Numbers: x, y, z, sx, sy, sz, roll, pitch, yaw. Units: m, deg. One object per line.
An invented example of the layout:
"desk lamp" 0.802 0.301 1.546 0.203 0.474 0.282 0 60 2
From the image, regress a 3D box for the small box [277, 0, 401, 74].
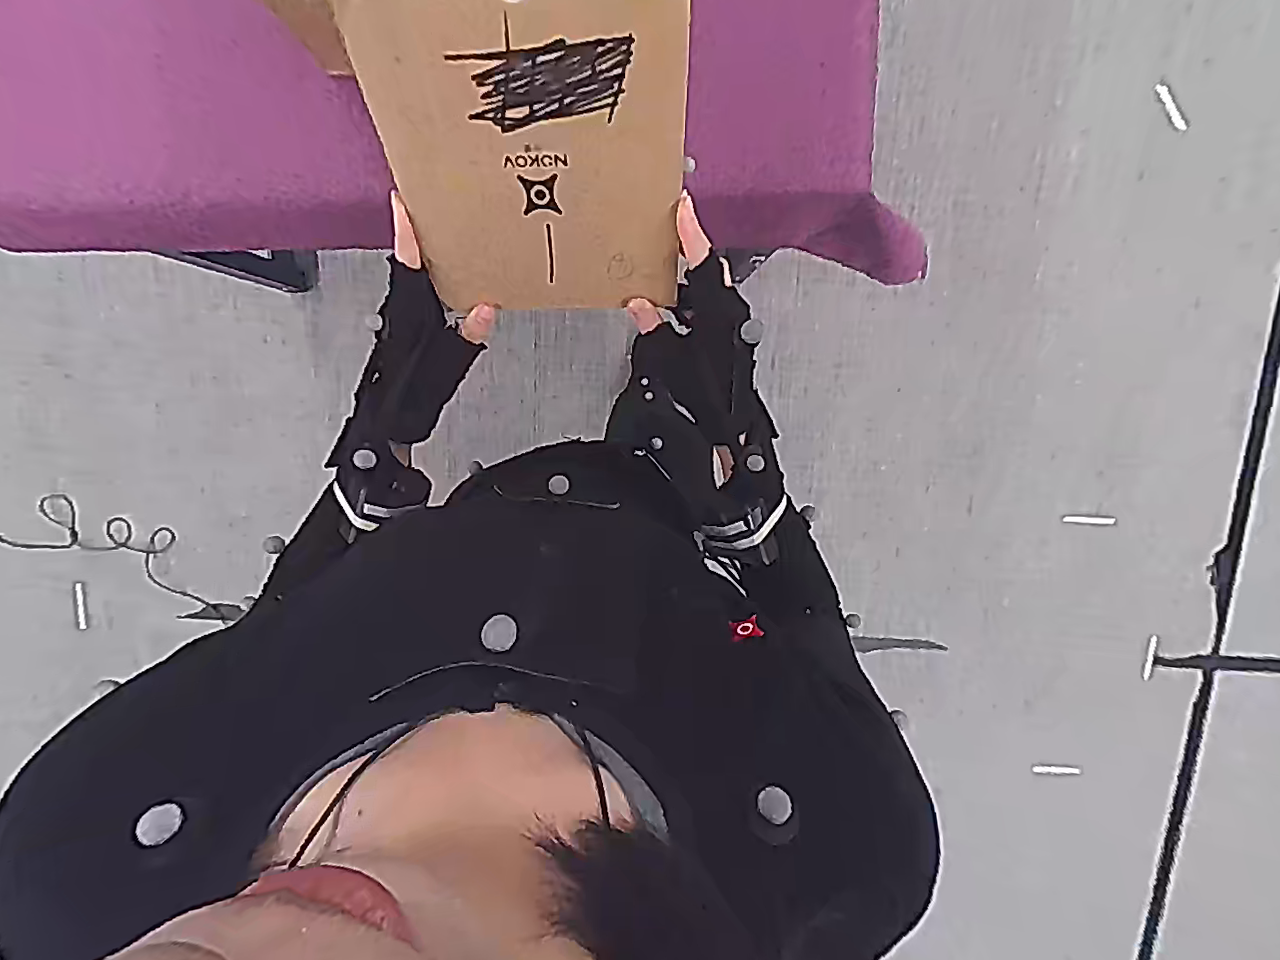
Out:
"small box" -0.300 -0.577 0.587 0.179 0.176 0.168 -2 99 -1

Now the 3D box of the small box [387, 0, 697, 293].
"small box" -0.053 -0.245 0.386 0.168 0.176 0.179 -1 126 0
